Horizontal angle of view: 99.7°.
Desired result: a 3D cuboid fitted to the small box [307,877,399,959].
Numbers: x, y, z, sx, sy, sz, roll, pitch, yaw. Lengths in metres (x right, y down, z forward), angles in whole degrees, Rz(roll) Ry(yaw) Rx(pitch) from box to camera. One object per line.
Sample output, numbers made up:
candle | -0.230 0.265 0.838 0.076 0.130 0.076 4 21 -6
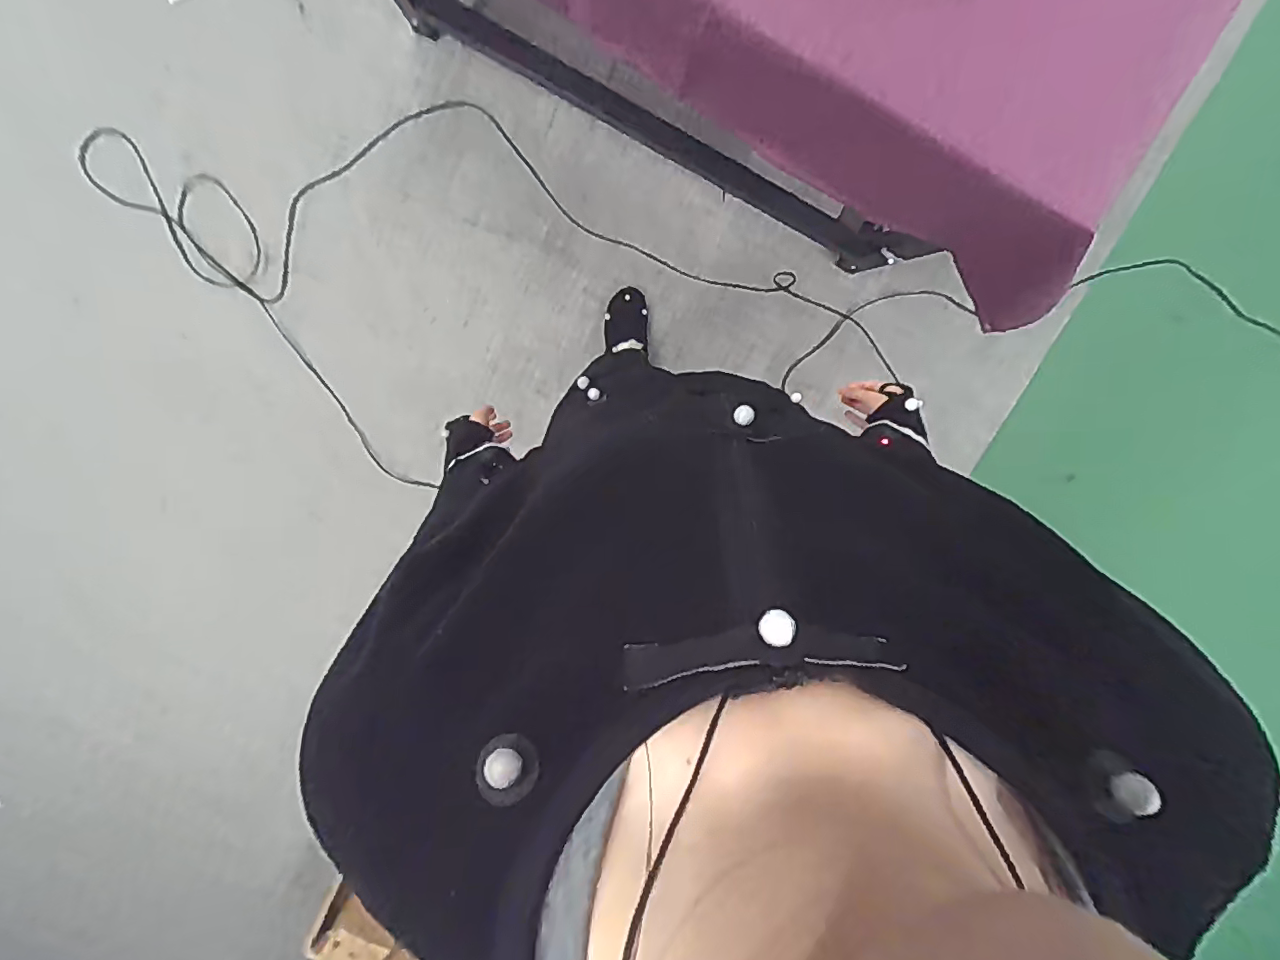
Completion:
small box | -0.911 1.430 1.735 0.179 0.176 0.168 34 100 -12
